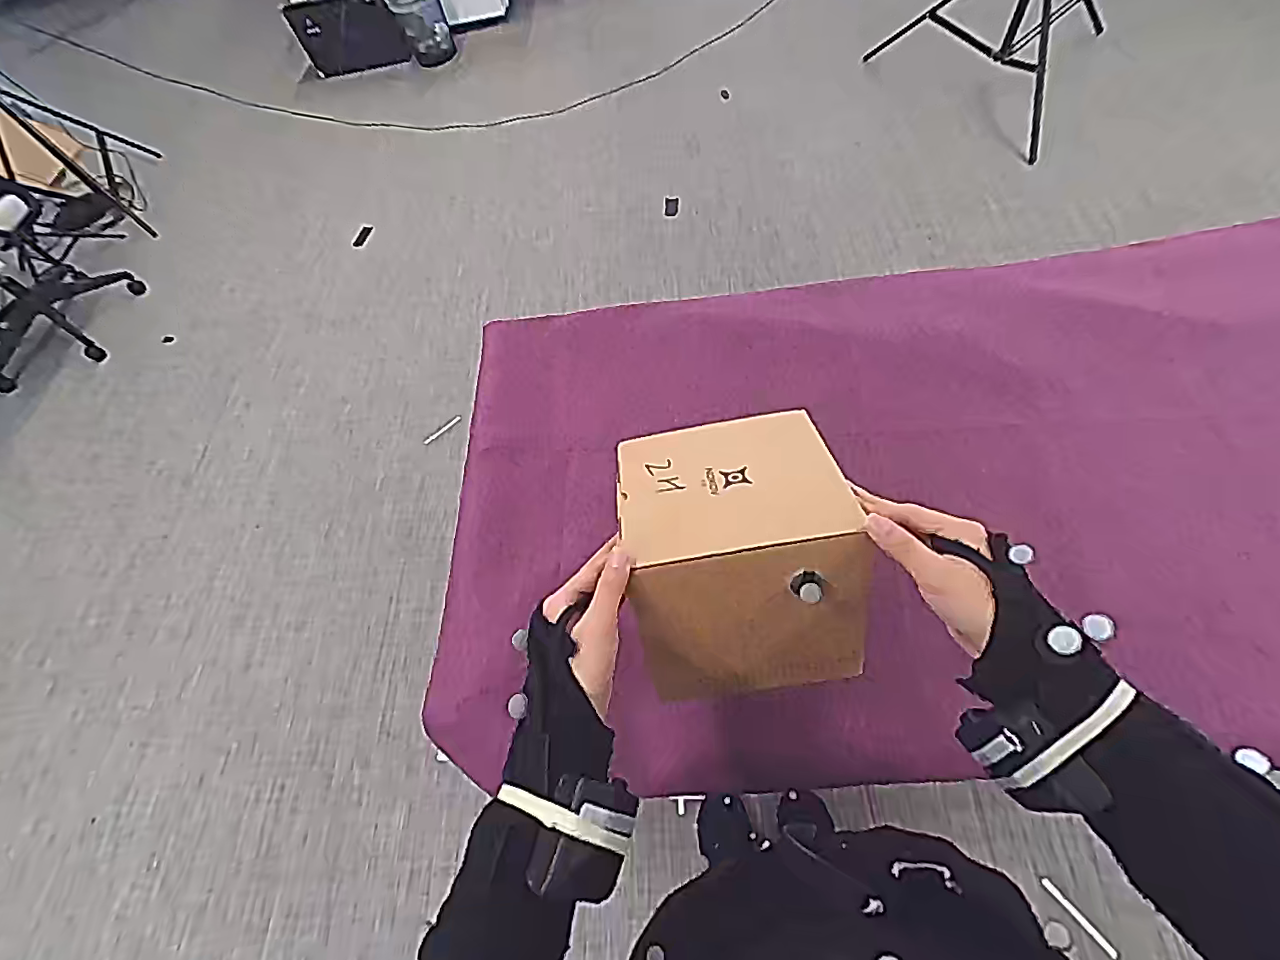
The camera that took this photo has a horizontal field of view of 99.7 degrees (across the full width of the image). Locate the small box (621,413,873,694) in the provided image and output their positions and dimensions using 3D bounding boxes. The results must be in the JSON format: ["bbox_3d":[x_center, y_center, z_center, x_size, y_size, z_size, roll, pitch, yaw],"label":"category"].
[{"bbox_3d":[0.083,0.065,0.480,0.179,0.176,0.168,-10,36,4],"label":"small box"}]
